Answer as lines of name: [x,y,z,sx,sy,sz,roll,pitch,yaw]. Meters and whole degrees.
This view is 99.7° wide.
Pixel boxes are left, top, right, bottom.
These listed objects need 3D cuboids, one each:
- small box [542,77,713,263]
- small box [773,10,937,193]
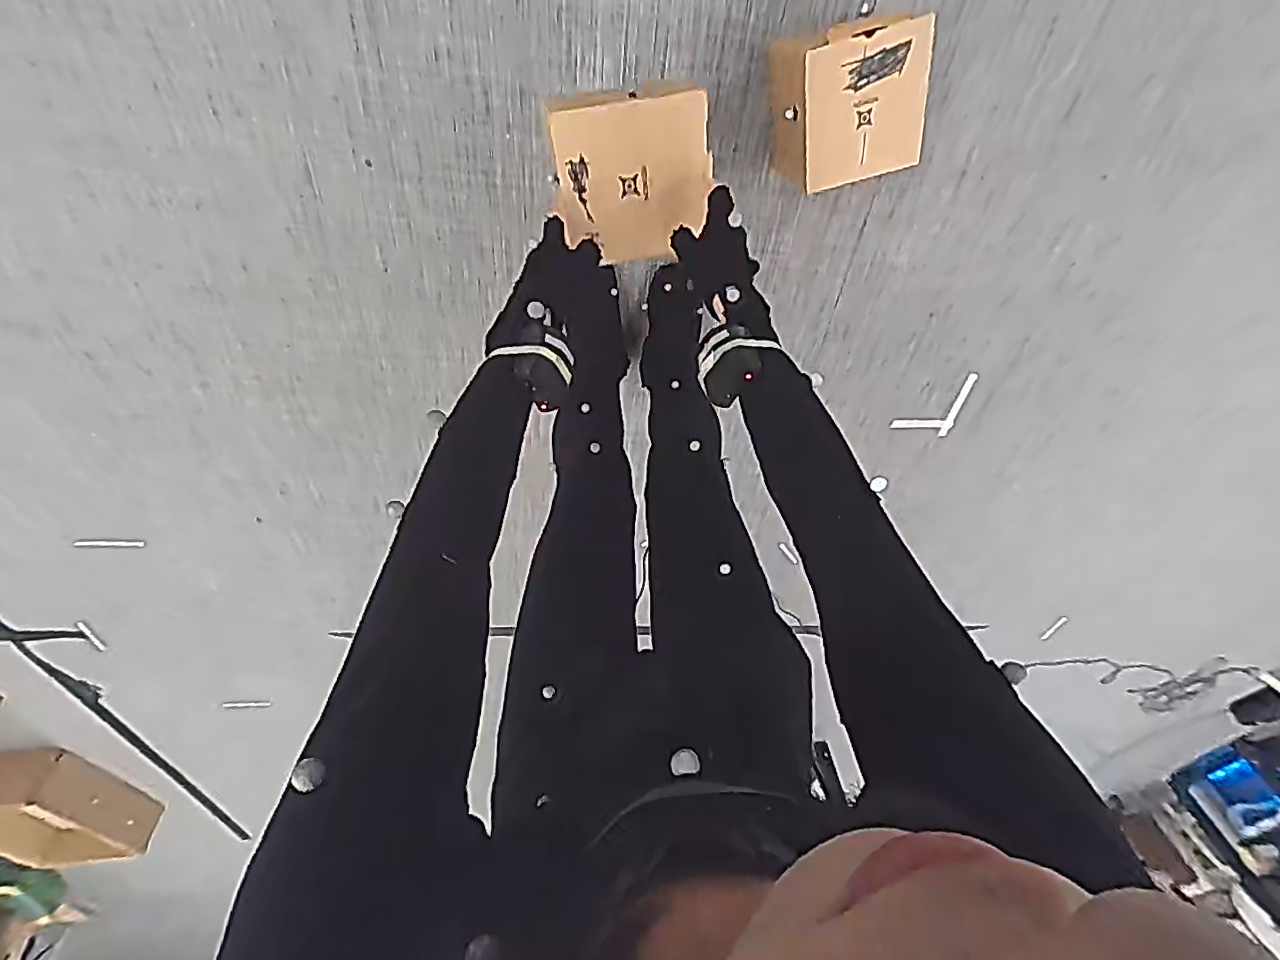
small box: [-0.017,-0.396,0.682,0.179,0.176,0.168,-12,130,-5]
small box: [0.298,-0.548,0.785,0.168,0.176,0.179,-13,131,5]
